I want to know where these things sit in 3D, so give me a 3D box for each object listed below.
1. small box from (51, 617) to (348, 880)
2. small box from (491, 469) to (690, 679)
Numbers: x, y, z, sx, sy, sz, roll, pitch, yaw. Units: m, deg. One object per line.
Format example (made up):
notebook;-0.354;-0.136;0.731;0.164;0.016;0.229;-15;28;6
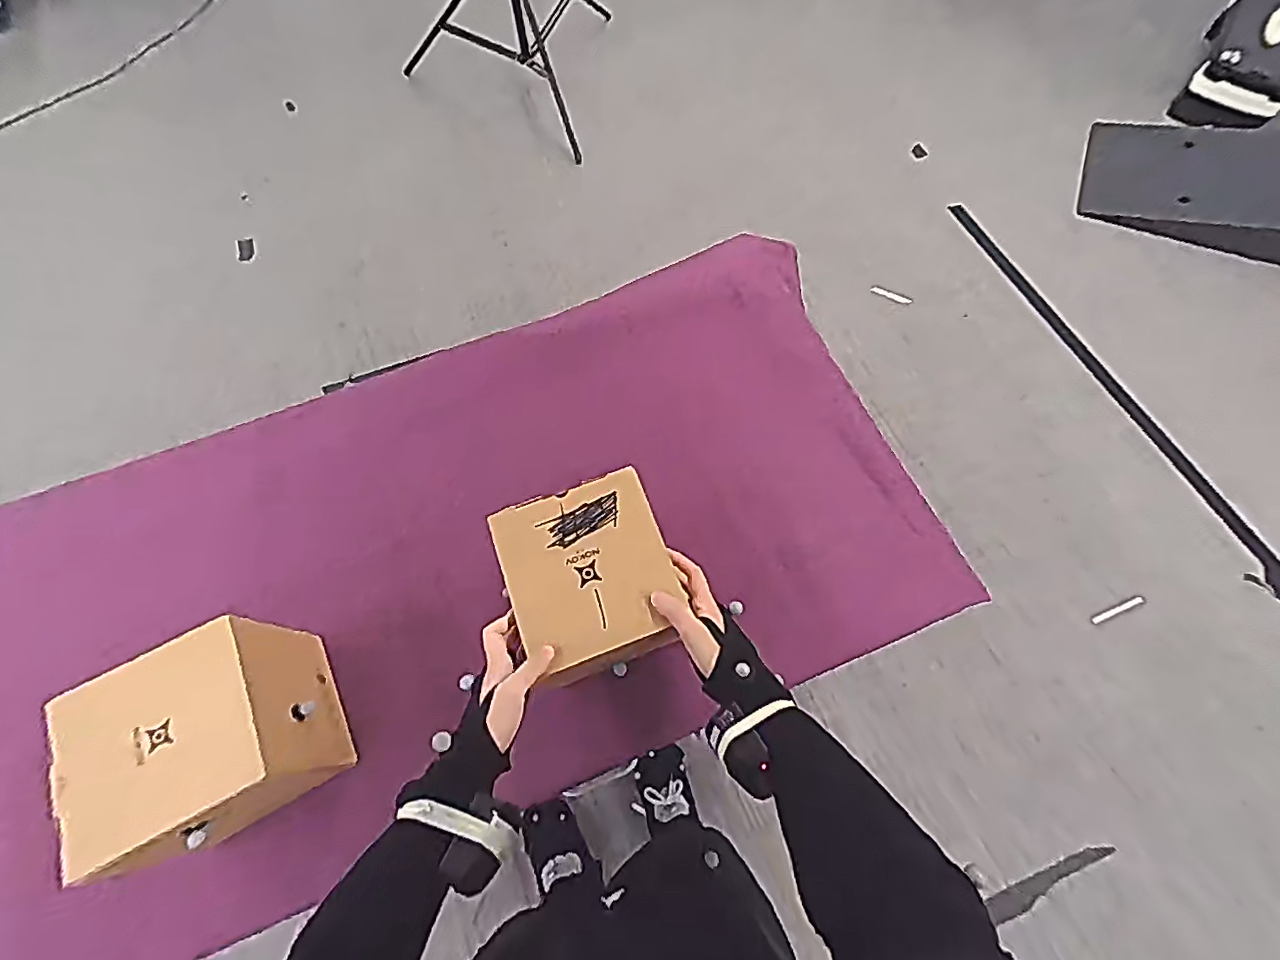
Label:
small box;-0.442;0.267;0.574;0.179;0.176;0.168;-28;69;-9
small box;-0.054;0.117;0.624;0.168;0.176;0.179;-19;70;-6
